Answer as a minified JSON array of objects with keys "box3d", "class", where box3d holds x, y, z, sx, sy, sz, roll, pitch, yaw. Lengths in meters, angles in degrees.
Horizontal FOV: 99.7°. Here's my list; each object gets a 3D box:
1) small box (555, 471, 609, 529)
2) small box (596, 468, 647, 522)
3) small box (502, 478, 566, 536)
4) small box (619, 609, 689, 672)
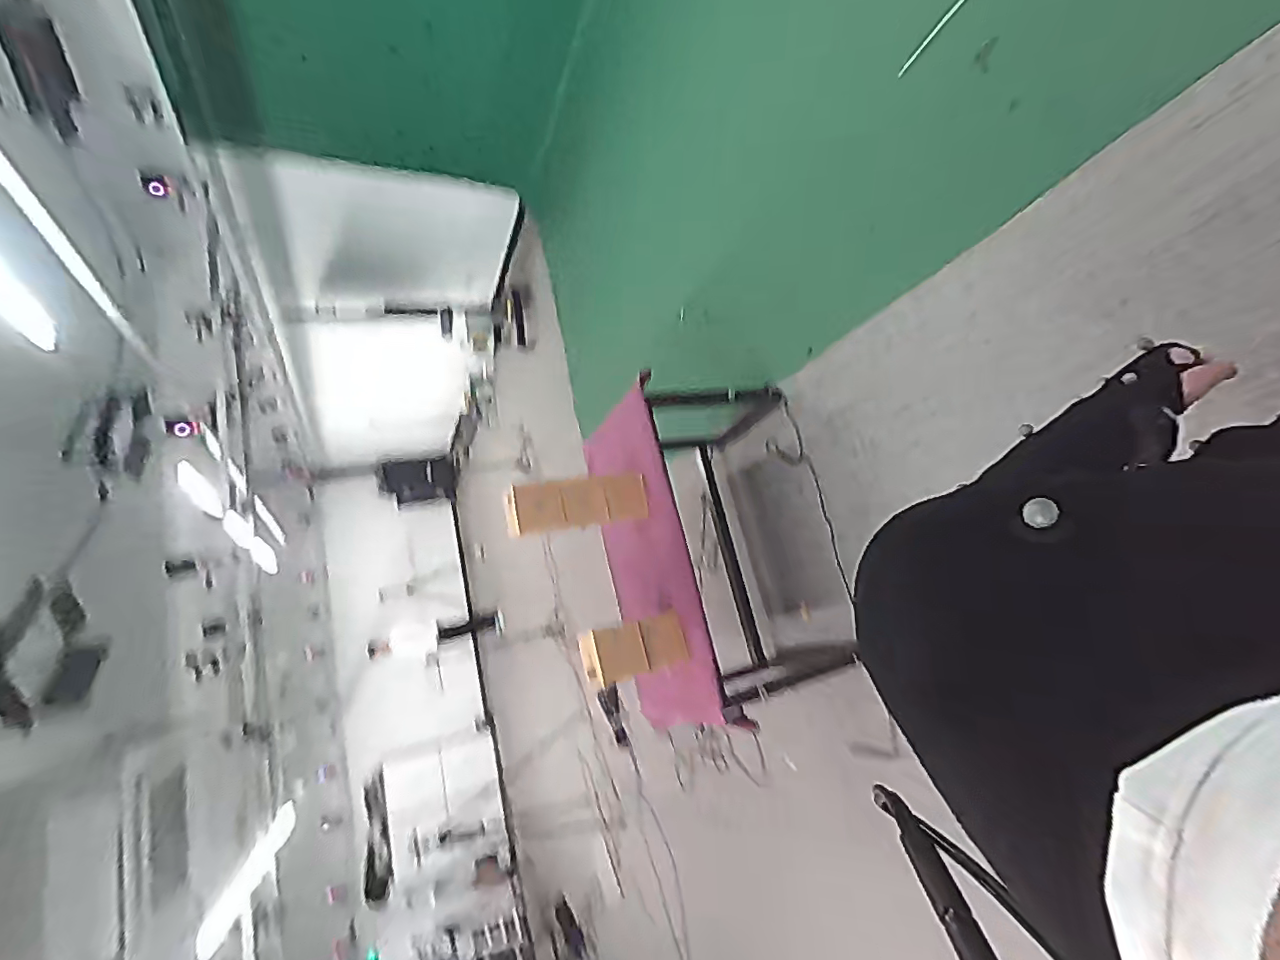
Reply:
[{"box3d":[-0.228,0.074,1.986,0.168,0.176,0.179,-23,77,61],"class":"small box"},{"box3d":[-0.084,0.057,2.061,0.168,0.176,0.179,-16,81,63],"class":"small box"},{"box3d":[-0.375,0.092,1.913,0.168,0.176,0.179,-25,75,62],"class":"small box"},{"box3d":[0.049,0.567,1.921,0.168,0.176,0.179,-46,56,57],"class":"small box"}]
